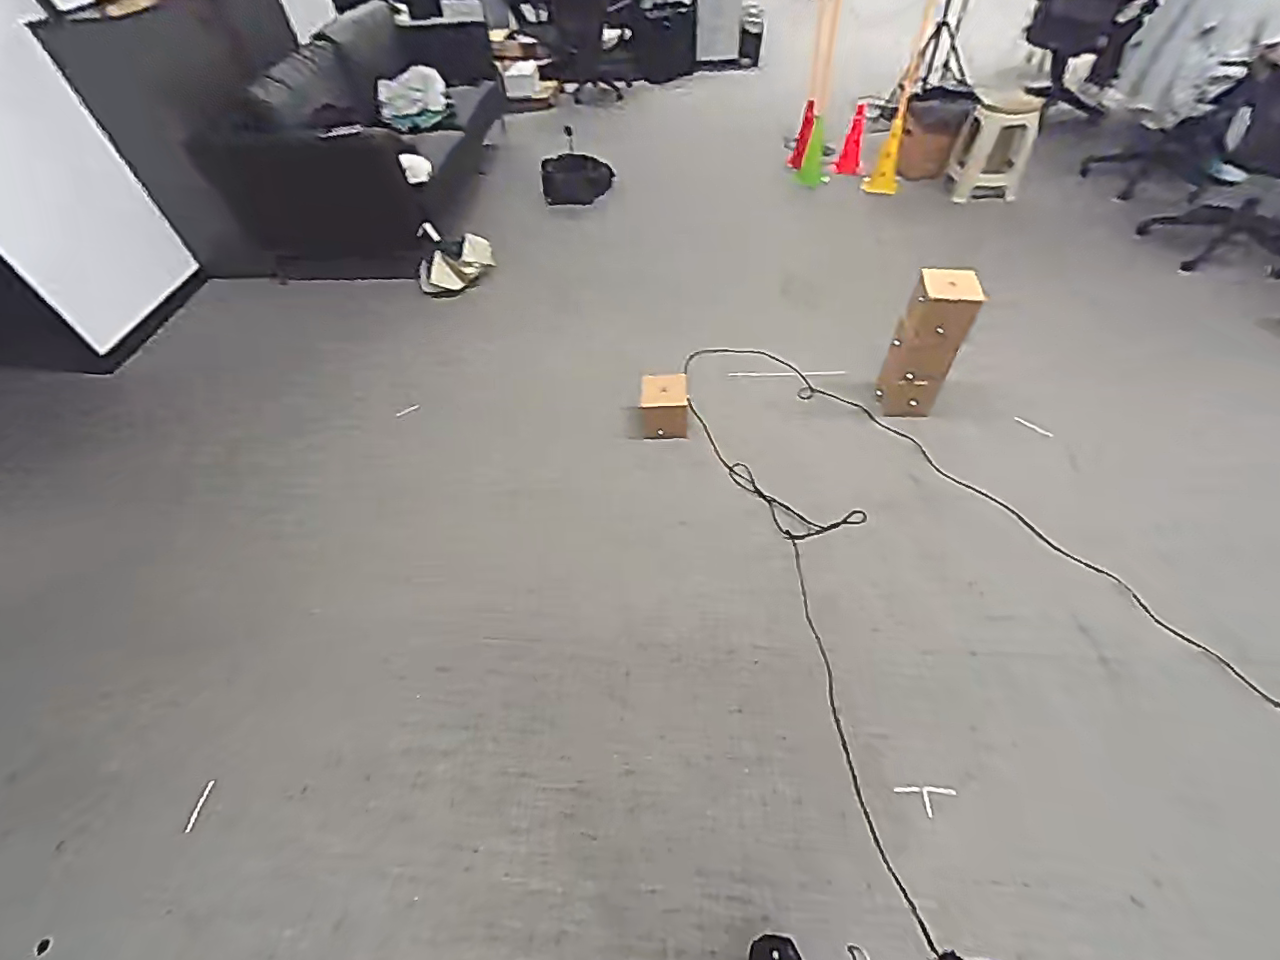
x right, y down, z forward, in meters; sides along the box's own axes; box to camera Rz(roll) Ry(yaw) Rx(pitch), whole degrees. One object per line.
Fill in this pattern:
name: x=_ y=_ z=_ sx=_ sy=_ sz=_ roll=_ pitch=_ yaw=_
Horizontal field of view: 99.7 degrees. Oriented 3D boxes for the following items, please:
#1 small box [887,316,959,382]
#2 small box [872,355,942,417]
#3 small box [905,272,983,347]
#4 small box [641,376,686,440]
small box: x=0.996 y=-0.463 z=1.916 sx=0.168 sy=0.176 sz=0.179 roll=2 pitch=50 yaw=6
small box: x=1.000 y=-0.353 z=2.042 sx=0.168 sy=0.176 sz=0.179 roll=1 pitch=52 yaw=1
small box: x=0.996 y=-0.565 z=1.790 sx=0.168 sy=0.176 sz=0.179 roll=6 pitch=52 yaw=9
small box: x=0.089 y=-0.270 z=2.039 sx=0.168 sy=0.176 sz=0.179 roll=-2 pitch=51 yaw=3
